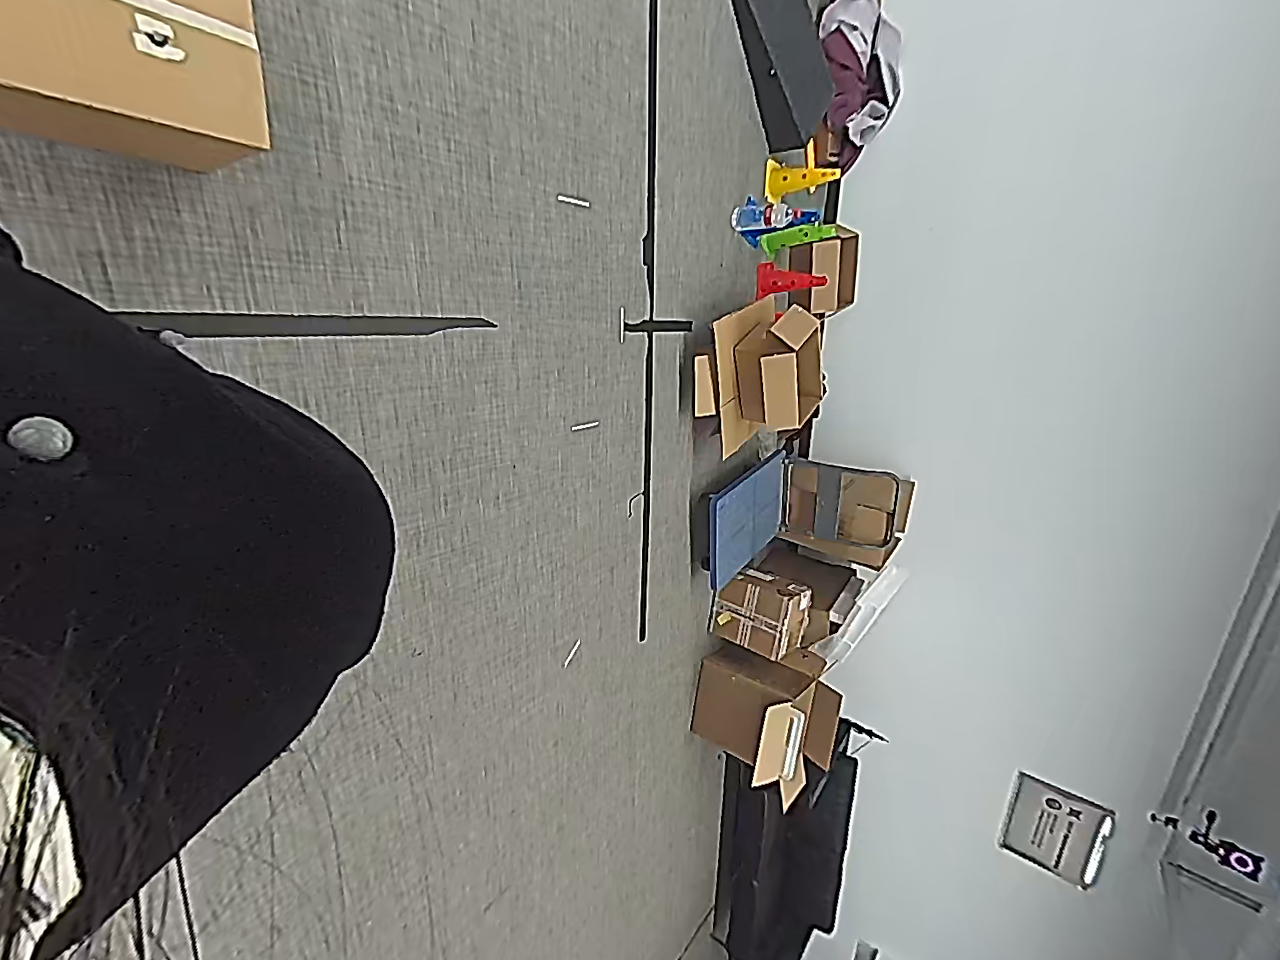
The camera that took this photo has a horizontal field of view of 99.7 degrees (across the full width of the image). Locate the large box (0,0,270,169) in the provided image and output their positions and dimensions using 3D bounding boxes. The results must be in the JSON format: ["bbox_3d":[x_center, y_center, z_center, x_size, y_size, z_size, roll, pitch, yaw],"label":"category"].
[{"bbox_3d":[-0.877,-0.714,0.831,0.408,0.320,0.320,-18,116,-51],"label":"large box"}]
